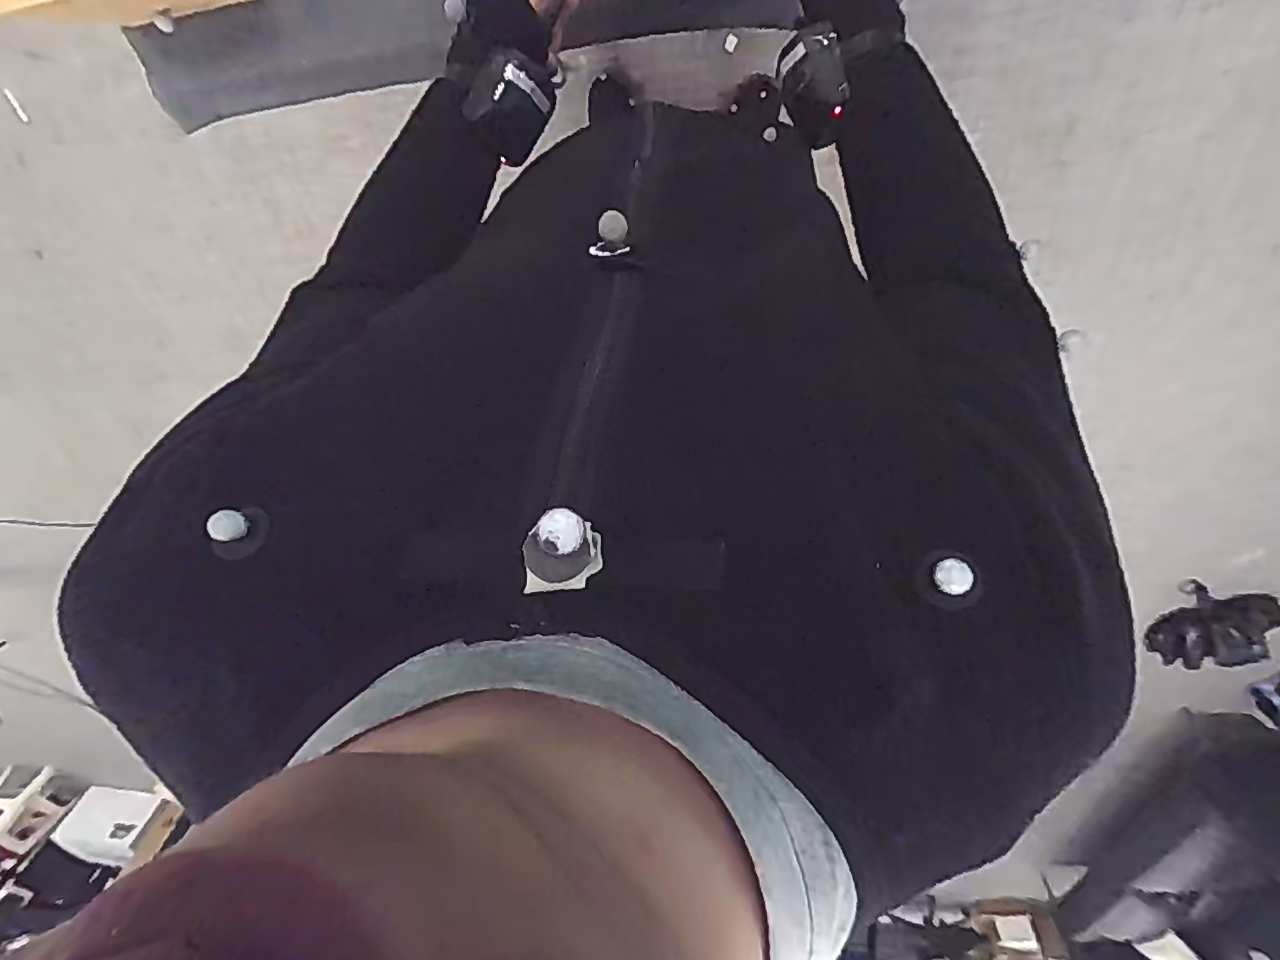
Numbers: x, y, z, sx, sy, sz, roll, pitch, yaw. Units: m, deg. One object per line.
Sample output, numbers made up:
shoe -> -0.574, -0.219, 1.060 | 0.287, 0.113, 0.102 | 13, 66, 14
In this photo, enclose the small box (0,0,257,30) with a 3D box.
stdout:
small box -> -0.482, -0.505, 0.451 | 0.168, 0.176, 0.179 | -4, 127, 8
